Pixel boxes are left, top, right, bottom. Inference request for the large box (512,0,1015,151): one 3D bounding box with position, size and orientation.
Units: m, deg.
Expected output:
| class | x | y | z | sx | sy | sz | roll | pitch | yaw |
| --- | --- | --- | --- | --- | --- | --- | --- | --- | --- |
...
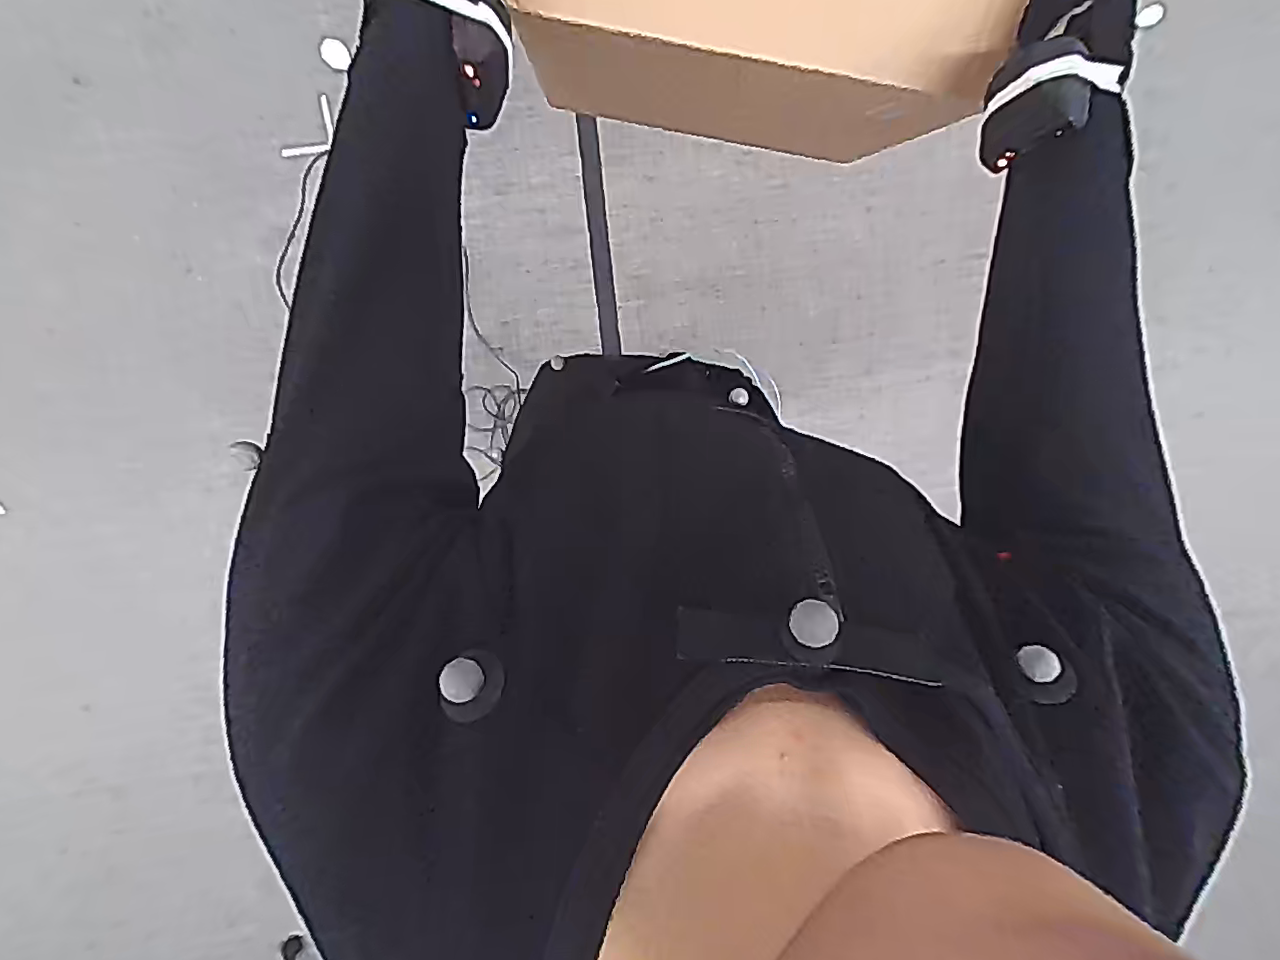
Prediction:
| class | x | y | z | sx | sy | sz | roll | pitch | yaw |
| --- | --- | --- | --- | --- | --- | --- | --- | --- | --- |
| large box | 0.103 | -0.539 | 0.509 | 0.408 | 0.320 | 0.320 | 6 | 113 | -6 |
